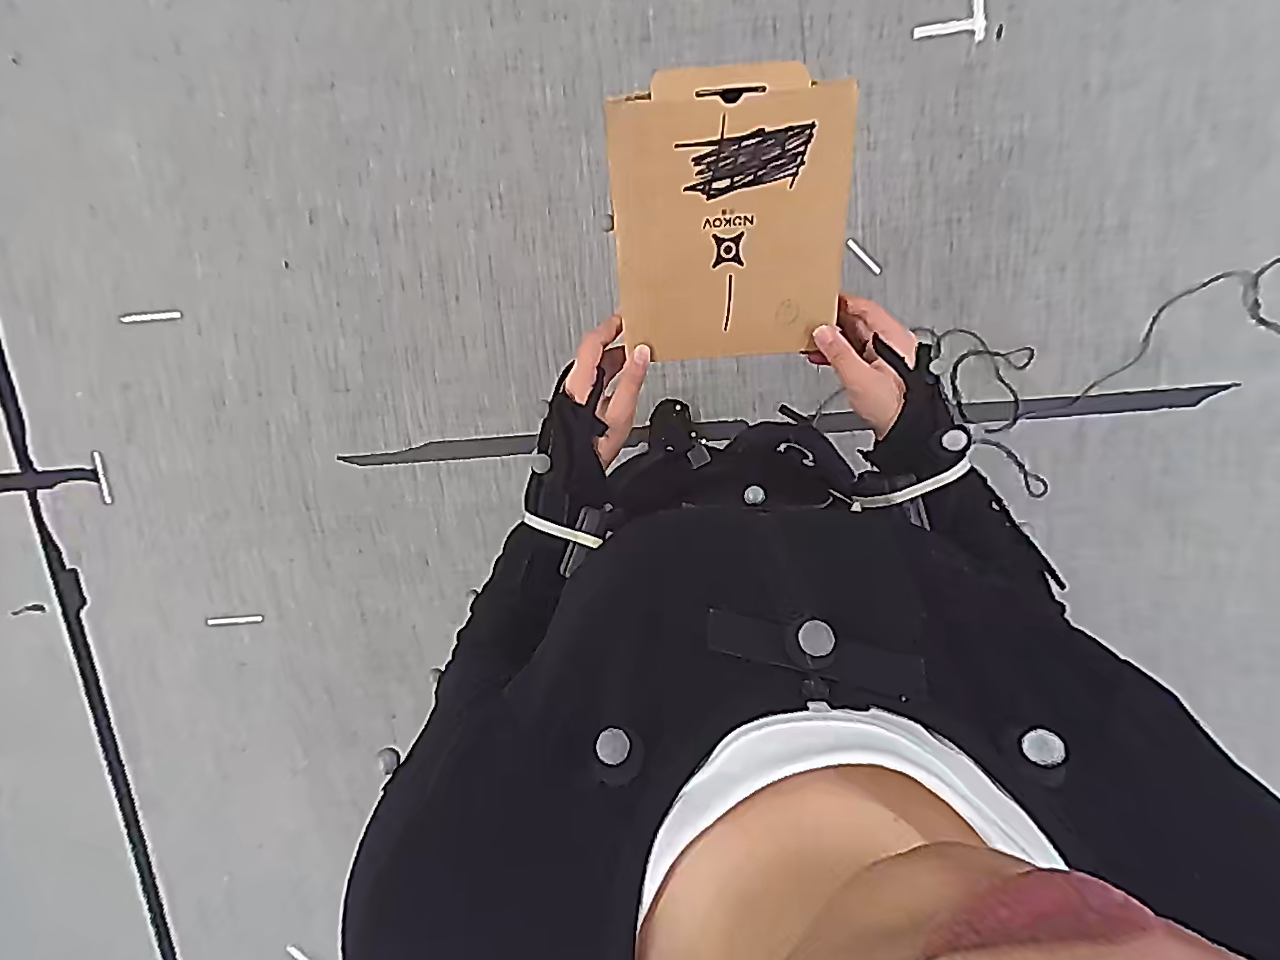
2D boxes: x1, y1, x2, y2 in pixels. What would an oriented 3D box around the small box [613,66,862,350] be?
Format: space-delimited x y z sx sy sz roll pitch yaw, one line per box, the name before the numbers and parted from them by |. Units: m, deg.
small box | 0.066 -0.220 0.456 0.168 0.176 0.179 -3 118 2
